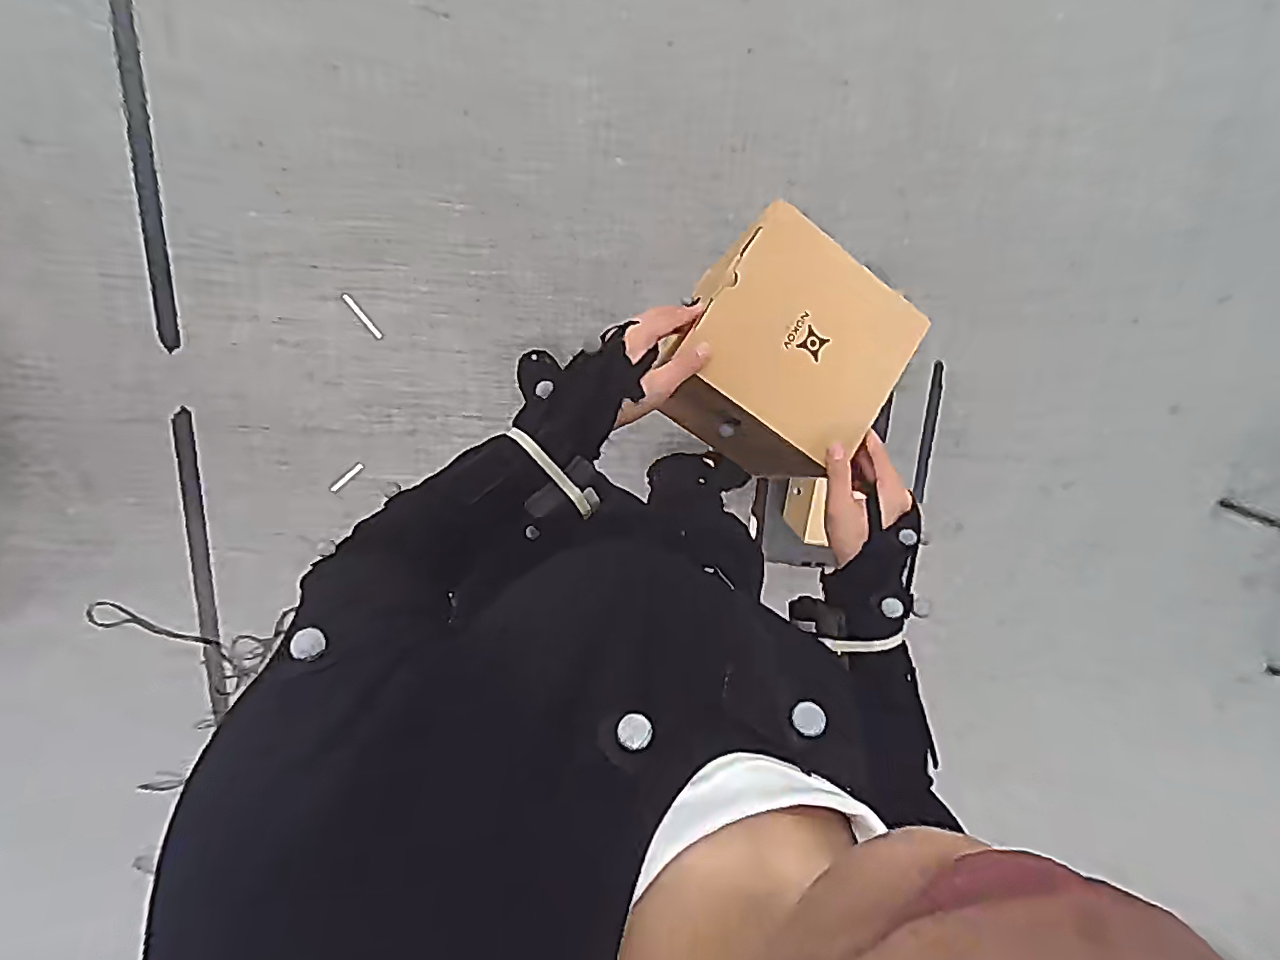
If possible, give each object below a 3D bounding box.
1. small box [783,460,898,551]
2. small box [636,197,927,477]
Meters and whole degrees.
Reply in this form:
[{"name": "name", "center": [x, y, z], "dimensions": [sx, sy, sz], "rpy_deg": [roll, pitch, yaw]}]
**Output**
[{"name": "small box", "center": [0.437, 0.045, 1.211], "dimensions": [0.179, 0.176, 0.168], "rpy_deg": [7, 104, -4]}, {"name": "small box", "center": [0.119, -0.118, 0.519], "dimensions": [0.179, 0.176, 0.168], "rpy_deg": [33, 84, -9]}]
